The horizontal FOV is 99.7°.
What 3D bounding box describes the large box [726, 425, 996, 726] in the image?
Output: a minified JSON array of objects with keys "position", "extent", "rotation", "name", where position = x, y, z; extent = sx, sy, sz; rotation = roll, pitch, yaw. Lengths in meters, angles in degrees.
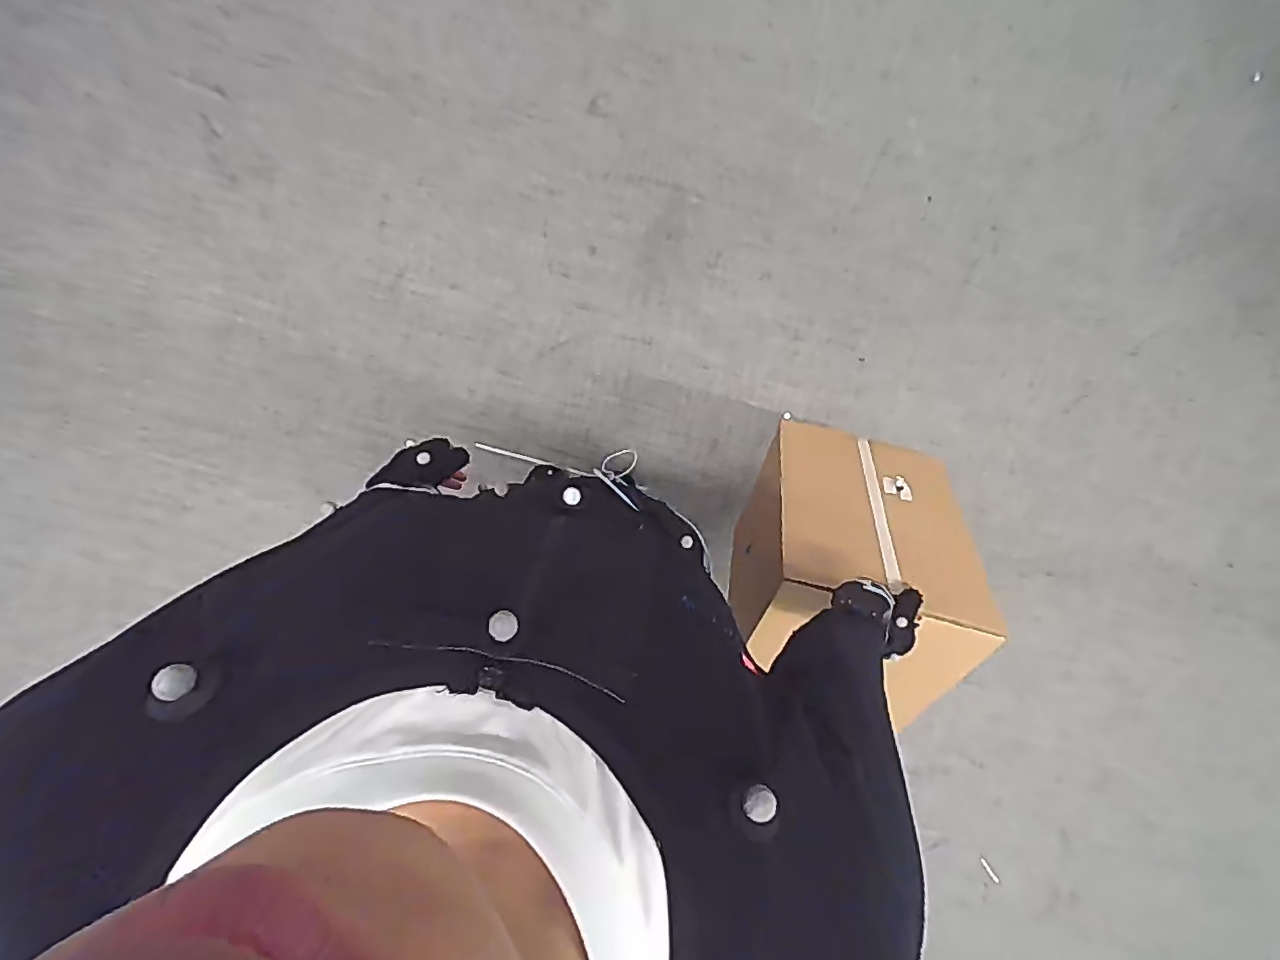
[{"position":[0.352,0.163,0.989],"extent":[0.320,0.408,0.320],"rotation":[16,130,1],"name":"large box"}]
